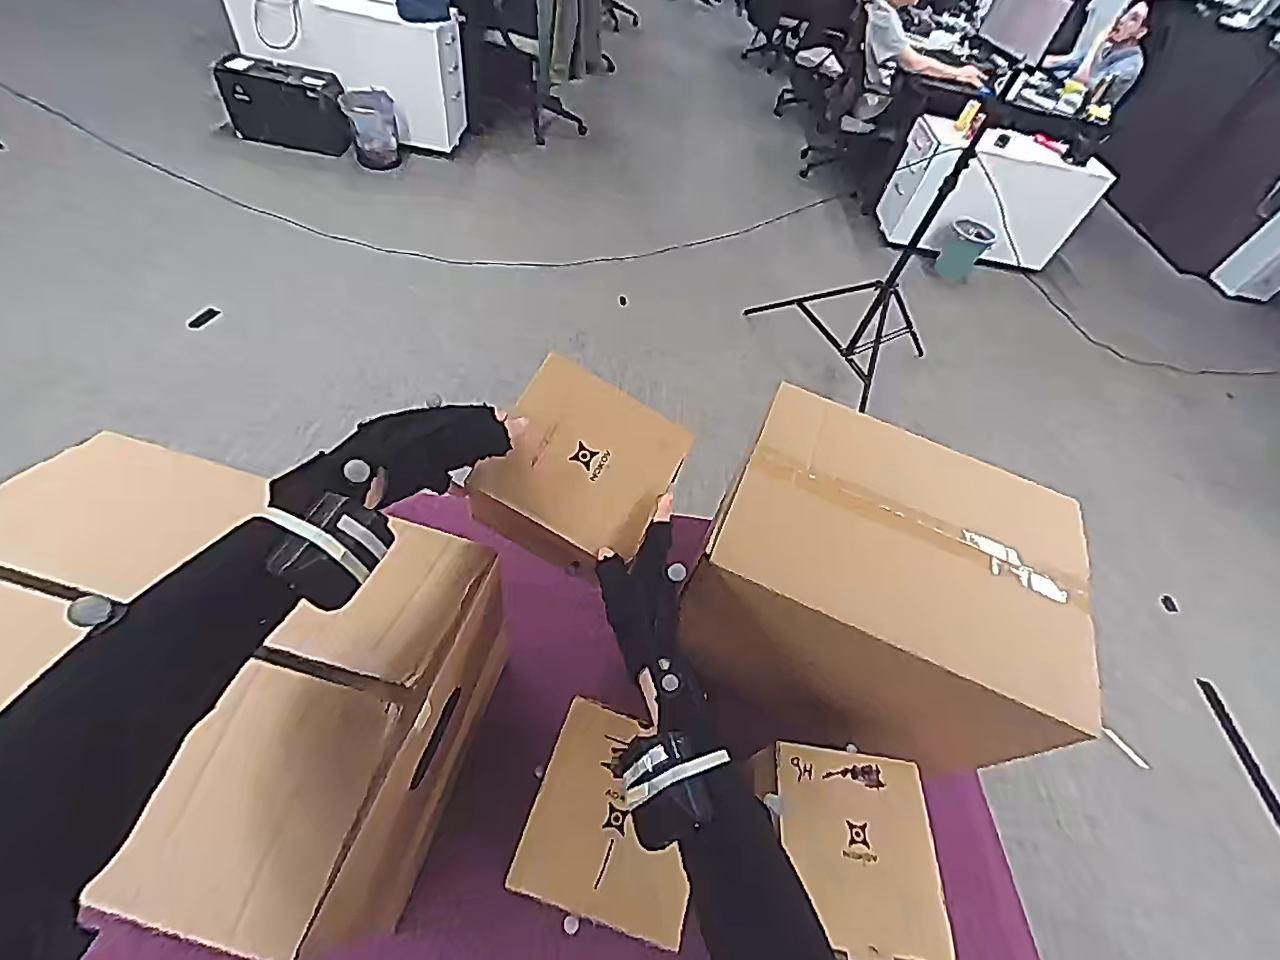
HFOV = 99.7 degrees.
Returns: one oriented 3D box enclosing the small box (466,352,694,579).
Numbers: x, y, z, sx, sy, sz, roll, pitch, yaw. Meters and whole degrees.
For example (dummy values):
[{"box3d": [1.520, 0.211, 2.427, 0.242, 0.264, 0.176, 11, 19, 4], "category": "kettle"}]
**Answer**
[{"box3d": [-0.071, -0.002, 0.605, 0.179, 0.176, 0.168, 29, 66, -4], "category": "small box"}]
